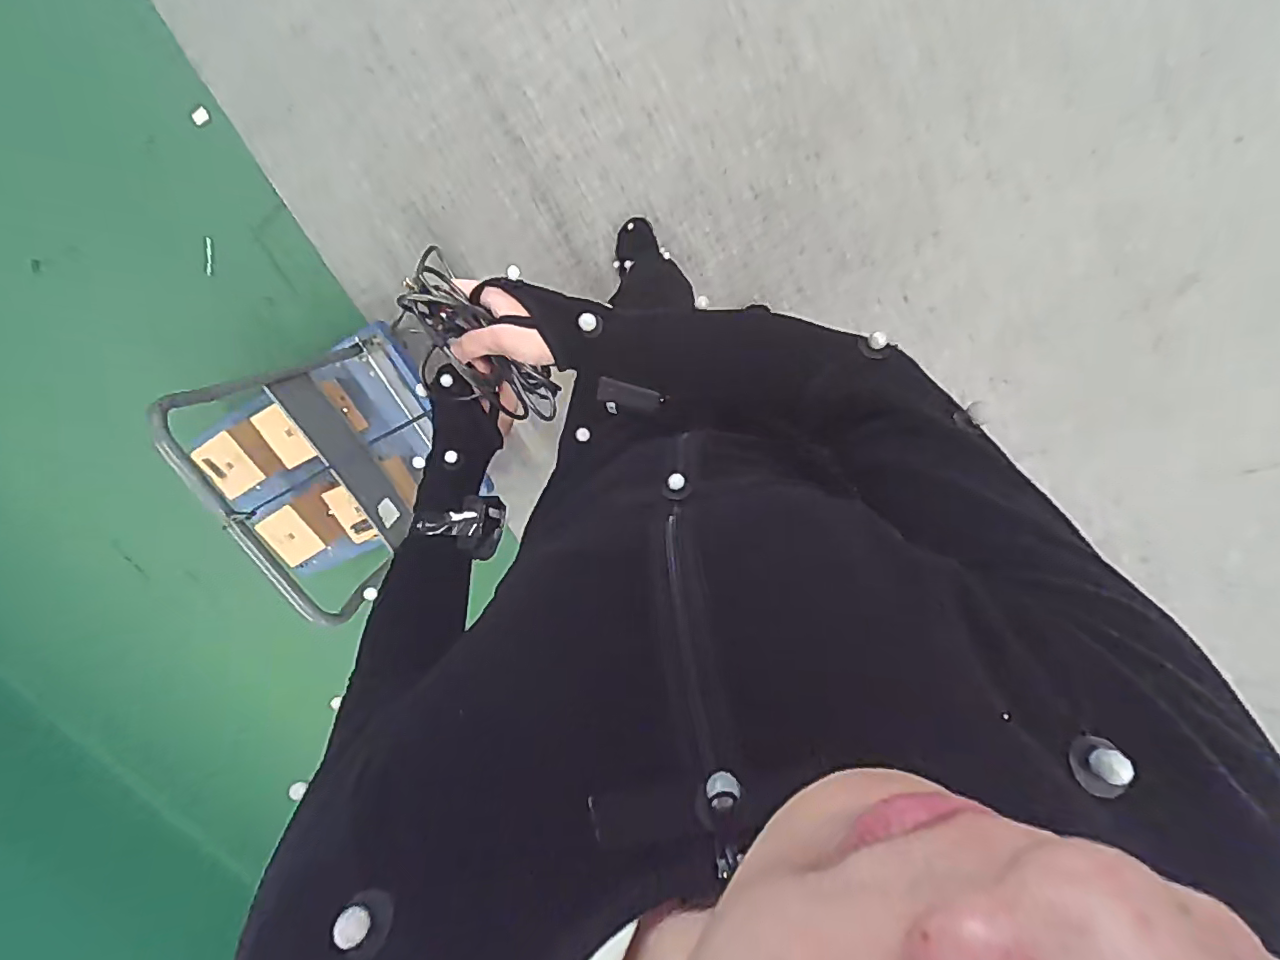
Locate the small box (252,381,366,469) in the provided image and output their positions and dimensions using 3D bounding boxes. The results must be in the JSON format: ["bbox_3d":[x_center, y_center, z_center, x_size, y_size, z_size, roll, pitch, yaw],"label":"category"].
[{"bbox_3d":[-0.921,-0.158,1.519,0.179,0.176,0.168,-21,109,19],"label":"small box"}]

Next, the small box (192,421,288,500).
[{"bbox_3d":[-1.153,-0.071,1.603,0.179,0.176,0.168,-24,109,20],"label":"small box"}]

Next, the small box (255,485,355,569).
[{"bbox_3d":[-1.027,0.139,1.678,0.179,0.176,0.168,-26,107,21],"label":"small box"}]
